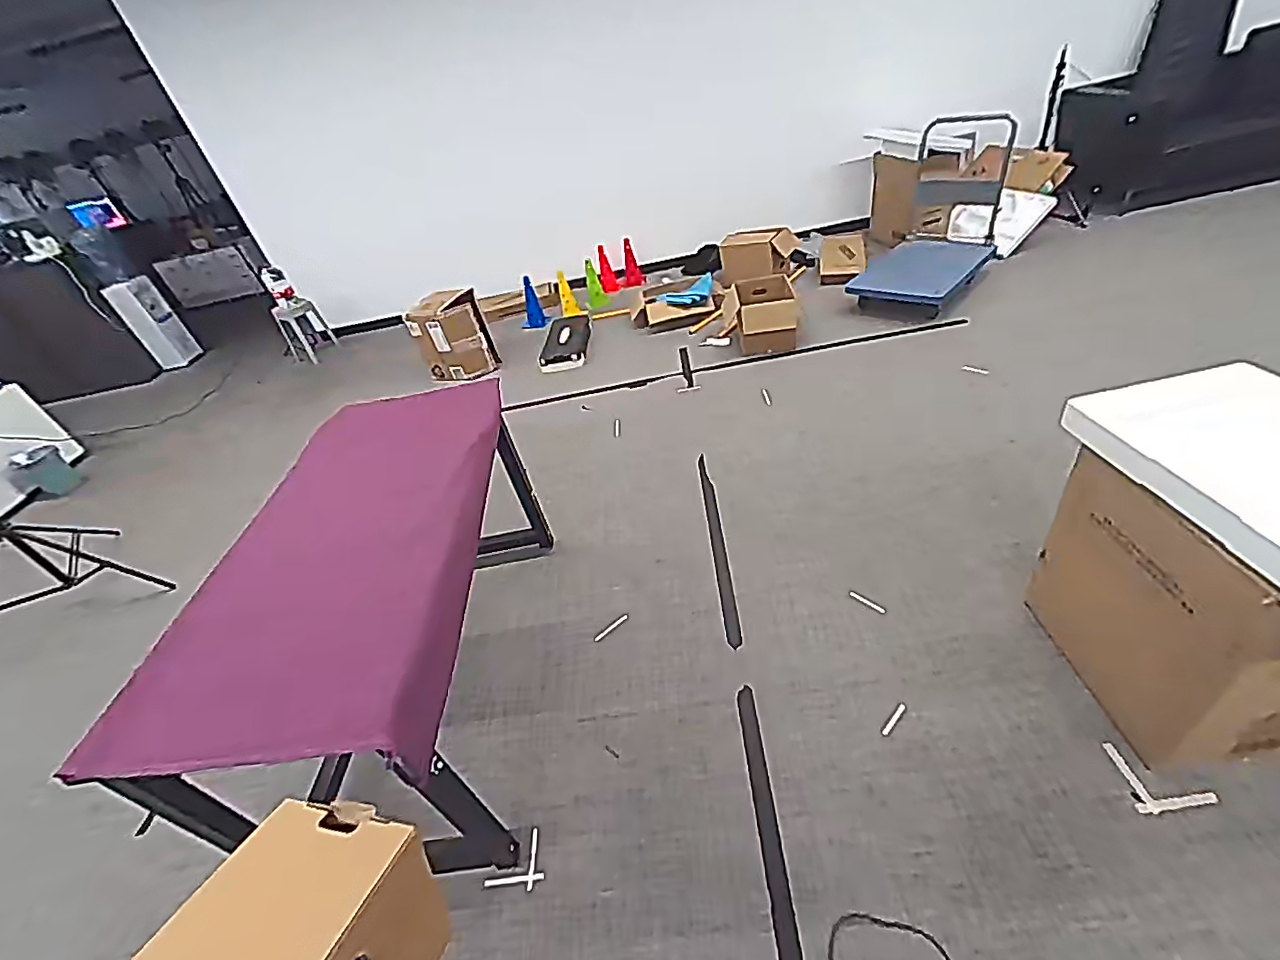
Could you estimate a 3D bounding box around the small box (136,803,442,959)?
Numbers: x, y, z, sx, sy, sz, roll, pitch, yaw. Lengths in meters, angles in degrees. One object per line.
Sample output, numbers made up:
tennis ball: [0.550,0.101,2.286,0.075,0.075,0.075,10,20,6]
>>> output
small box: [-0.309,0.447,0.497,0.168,0.176,0.179,1,20,16]
